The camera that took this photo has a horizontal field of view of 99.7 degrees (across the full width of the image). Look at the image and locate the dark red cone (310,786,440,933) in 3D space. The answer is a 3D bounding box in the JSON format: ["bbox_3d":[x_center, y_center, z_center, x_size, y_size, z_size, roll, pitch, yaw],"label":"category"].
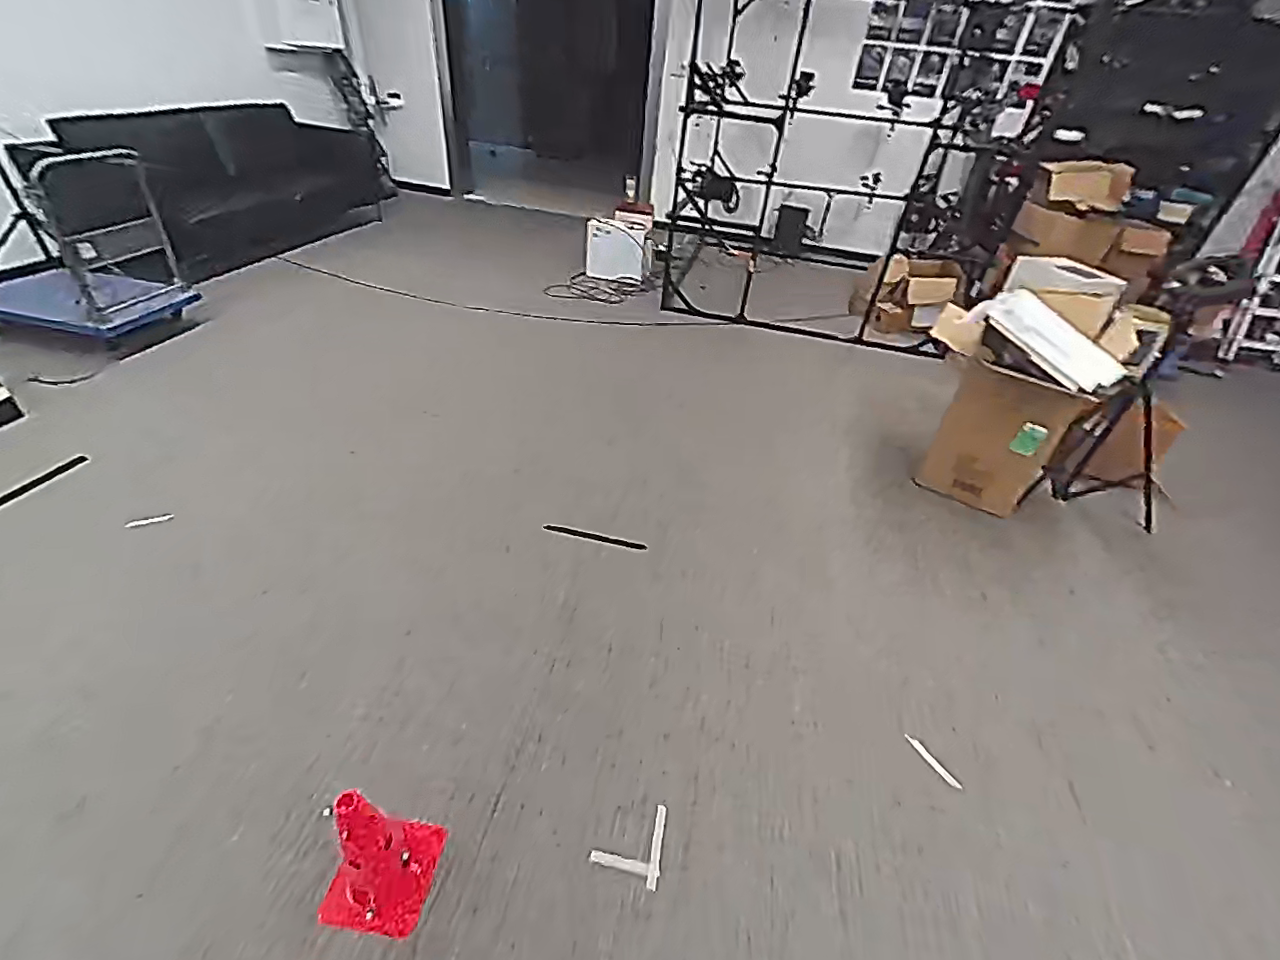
[{"bbox_3d":[-0.518,0.672,1.011,0.202,0.394,0.201,8,38,2],"label":"dark red cone"}]
